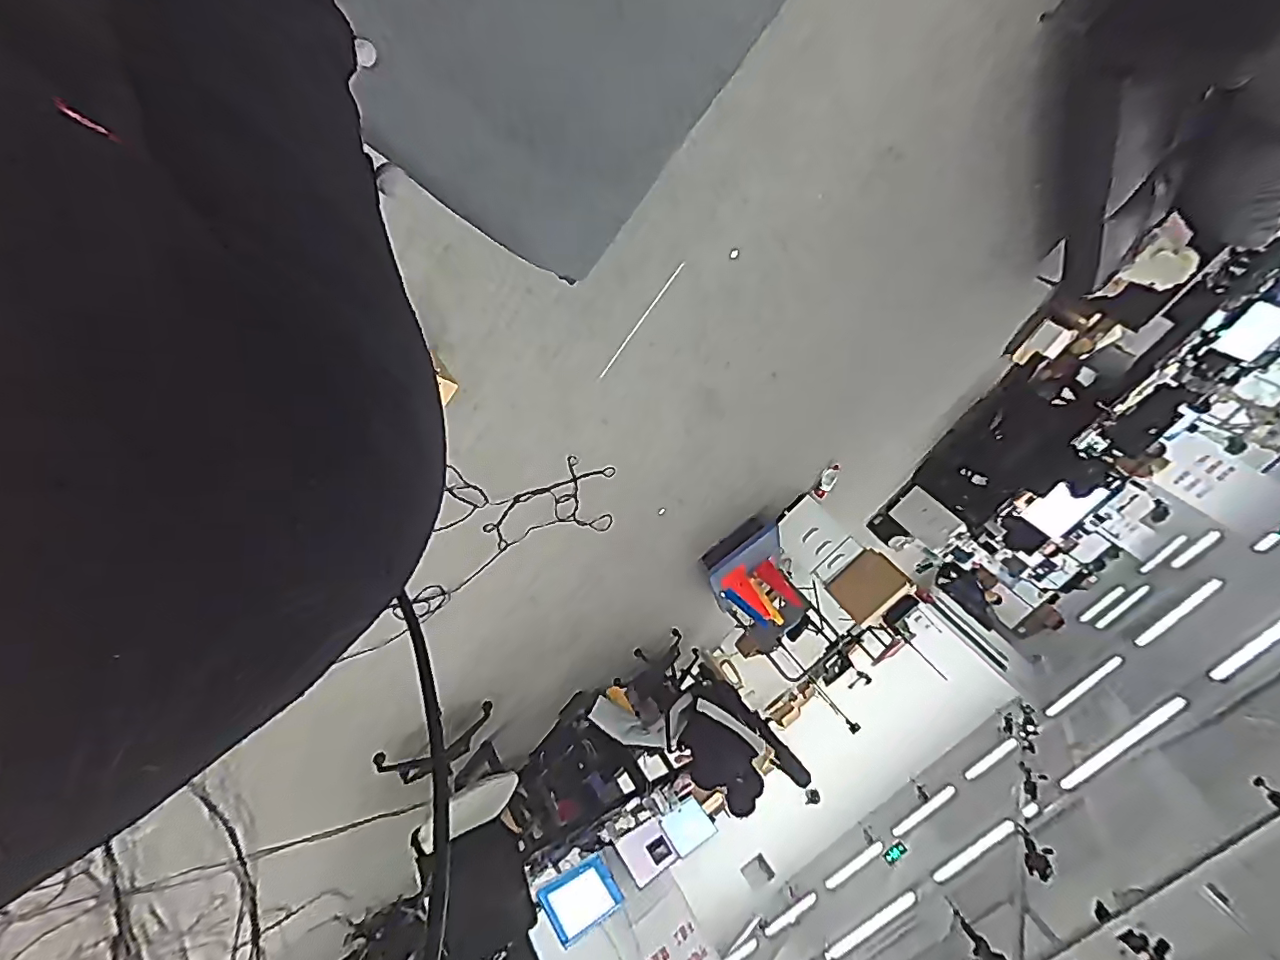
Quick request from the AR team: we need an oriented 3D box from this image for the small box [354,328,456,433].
[{"bbox_3d":[-0.620,-0.259,1.412,0.179,0.176,0.168,-48,147,13],"label":"small box"}]
